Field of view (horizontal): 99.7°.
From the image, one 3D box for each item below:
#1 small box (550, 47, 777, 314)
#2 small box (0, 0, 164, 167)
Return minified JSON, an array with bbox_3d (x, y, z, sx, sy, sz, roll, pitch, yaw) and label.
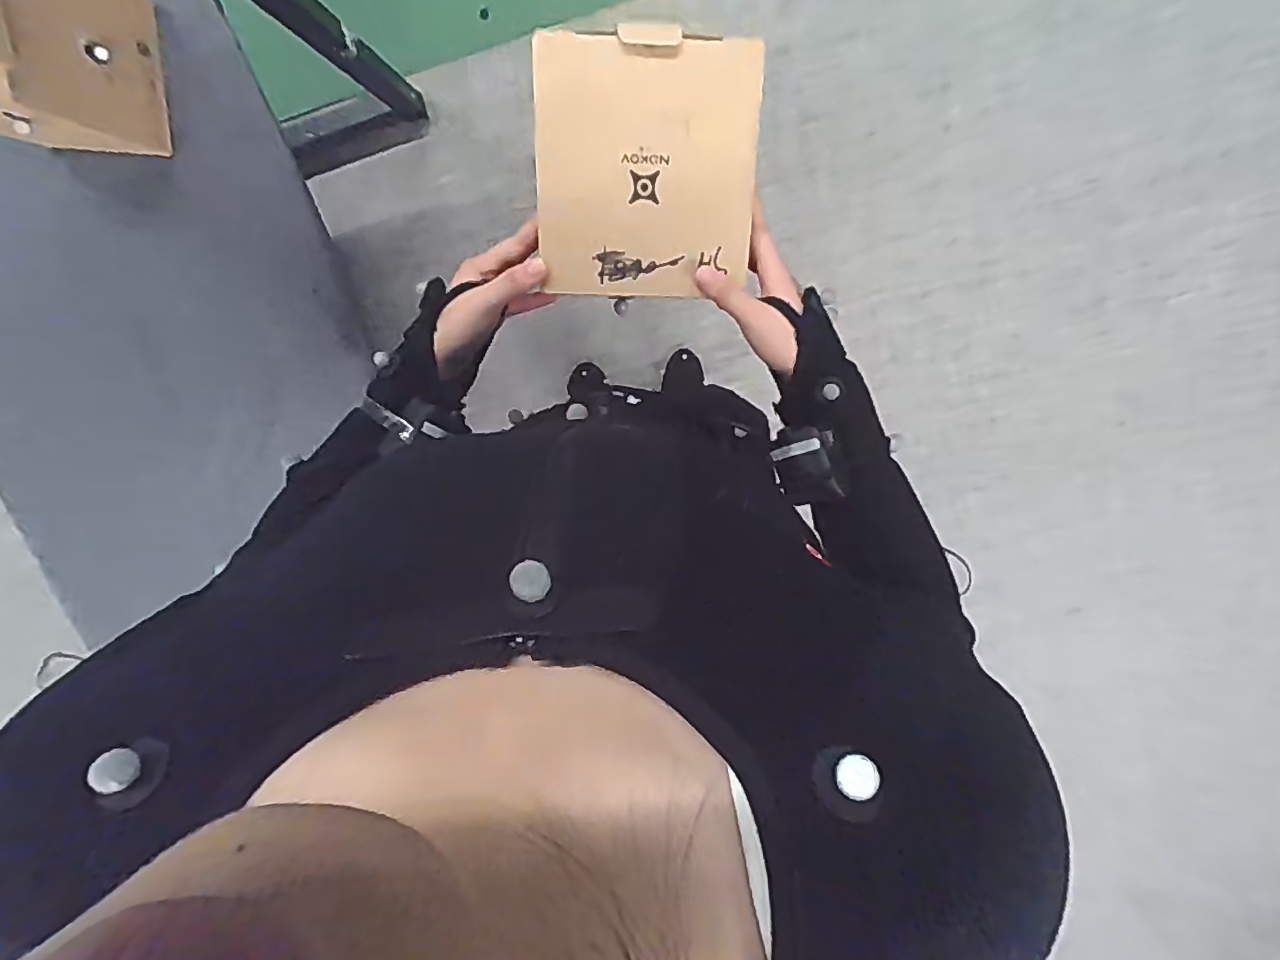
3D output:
[{"bbox_3d":[0.011,-0.244,0.482,0.168,0.176,0.179,1,110,-1],"label":"small box"},{"bbox_3d":[-0.657,-0.450,0.575,0.179,0.176,0.168,6,105,5],"label":"small box"}]
